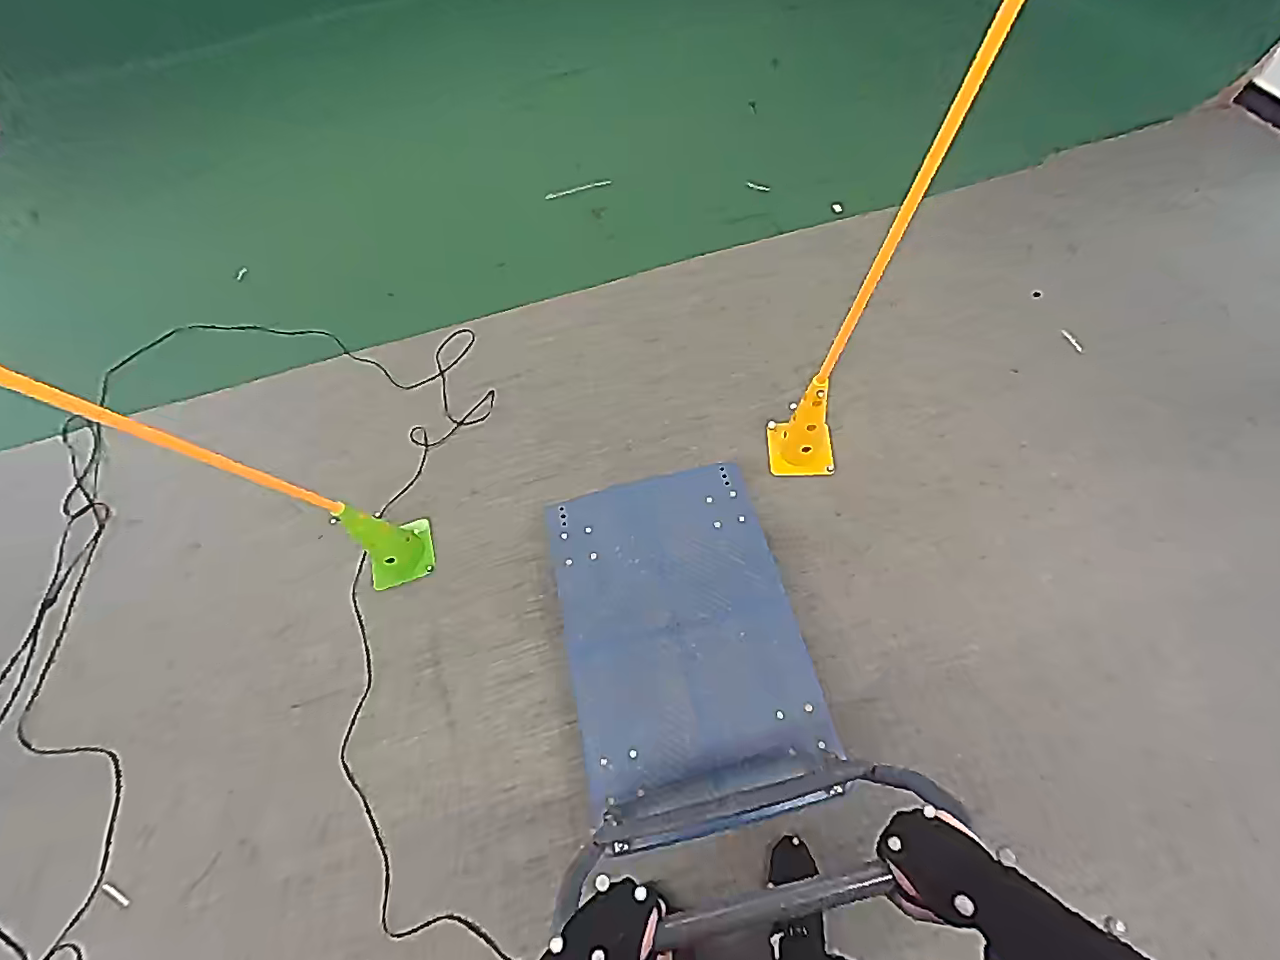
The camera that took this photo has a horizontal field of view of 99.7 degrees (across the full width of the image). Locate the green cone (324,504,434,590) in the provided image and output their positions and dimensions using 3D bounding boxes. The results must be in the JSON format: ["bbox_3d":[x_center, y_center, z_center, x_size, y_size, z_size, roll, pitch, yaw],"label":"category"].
[{"bbox_3d":[-0.789,0.158,1.587,0.202,0.368,0.200,-20,61,-2],"label":"green cone"}]
